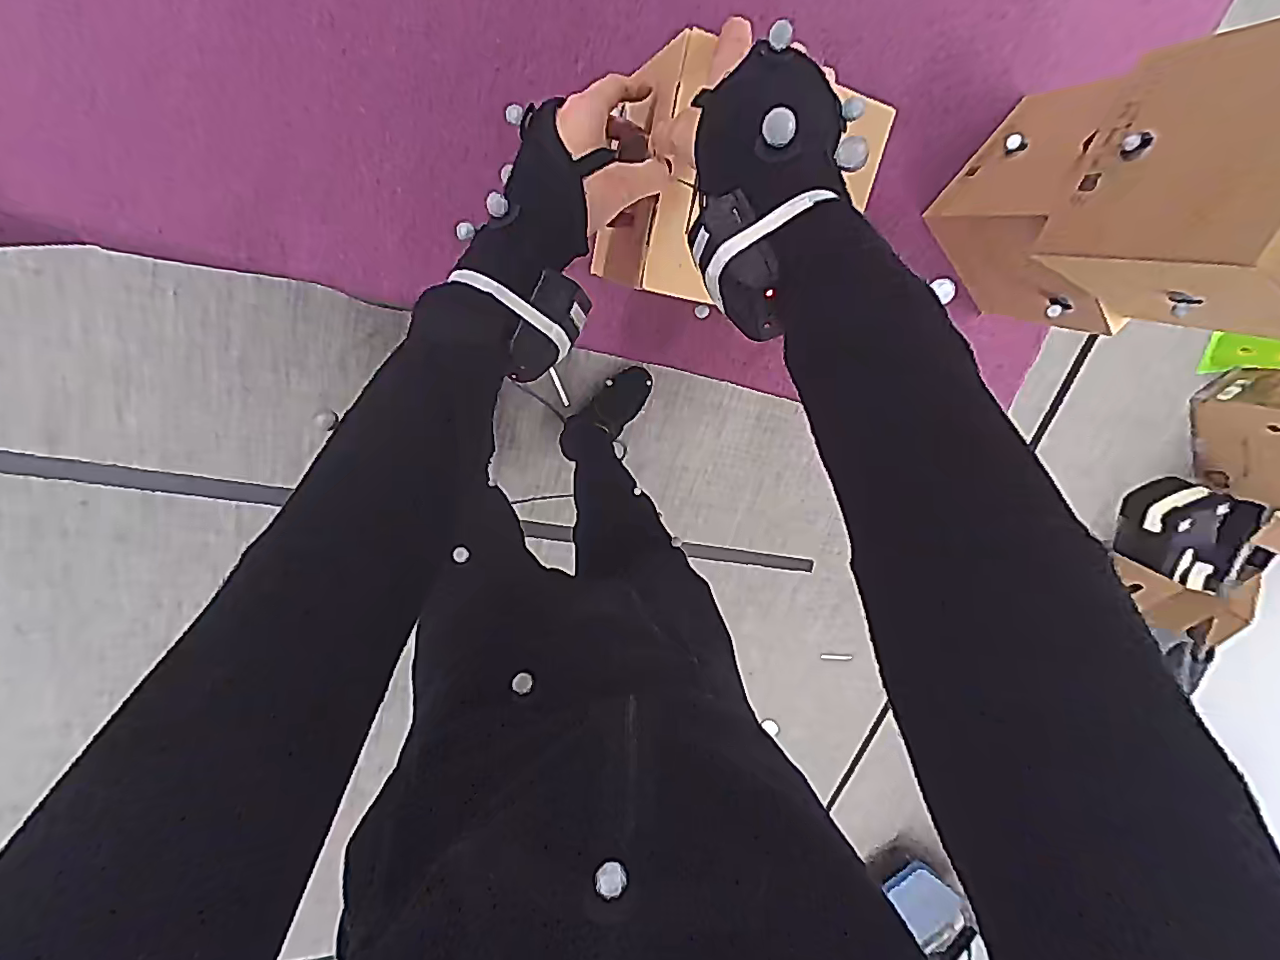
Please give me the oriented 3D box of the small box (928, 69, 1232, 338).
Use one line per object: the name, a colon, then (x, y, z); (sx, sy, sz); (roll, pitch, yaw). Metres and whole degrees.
small box: (0.461, -0.286, 0.585); (0.179, 0.176, 0.168); (37, 99, -29)
